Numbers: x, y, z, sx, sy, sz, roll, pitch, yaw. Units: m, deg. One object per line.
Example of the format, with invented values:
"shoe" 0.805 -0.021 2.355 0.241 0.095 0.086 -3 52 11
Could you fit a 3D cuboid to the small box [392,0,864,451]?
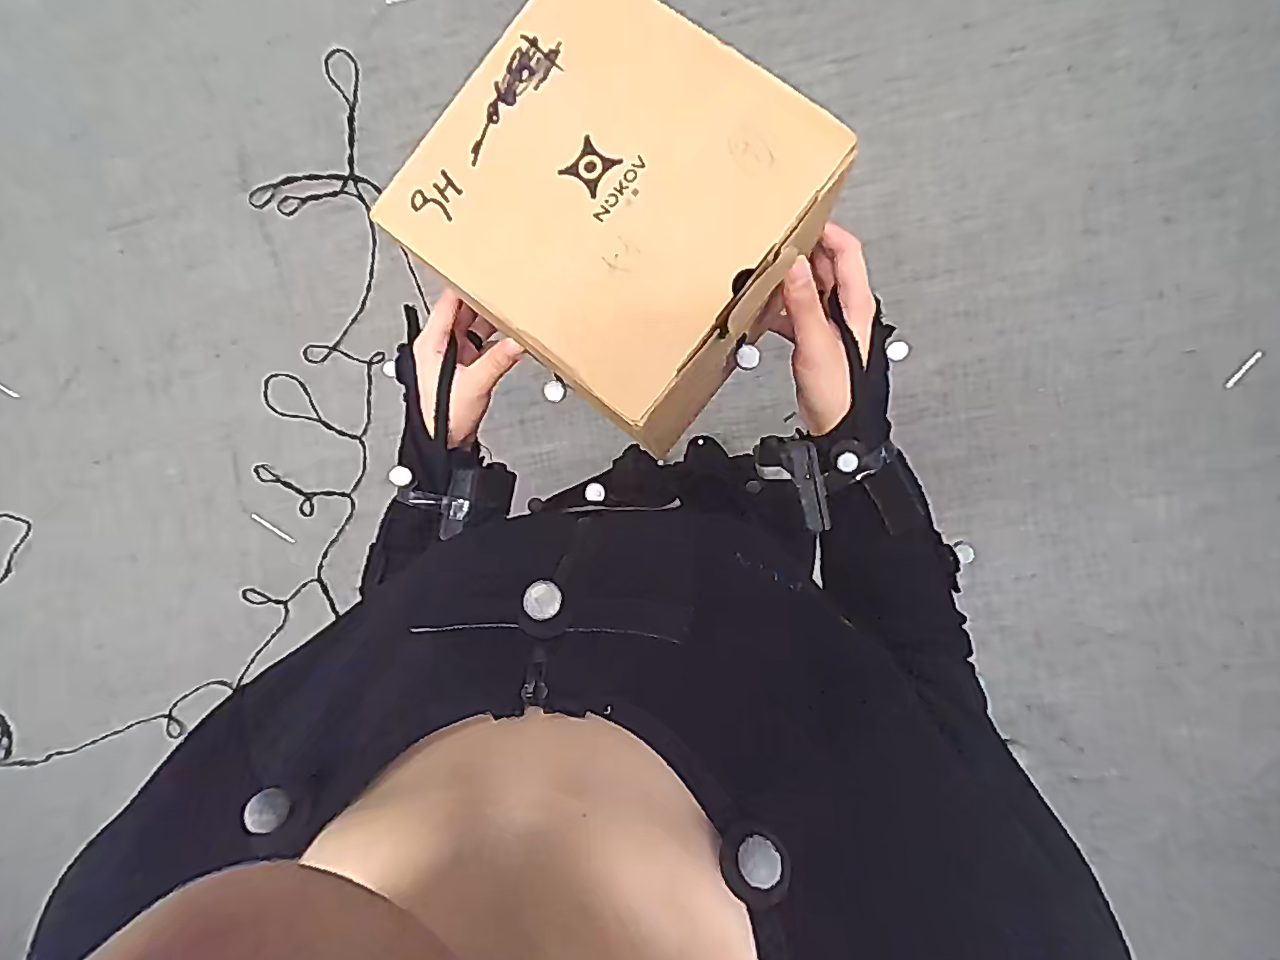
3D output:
"small box" -0.002 -0.132 0.342 0.179 0.176 0.168 40 91 6
